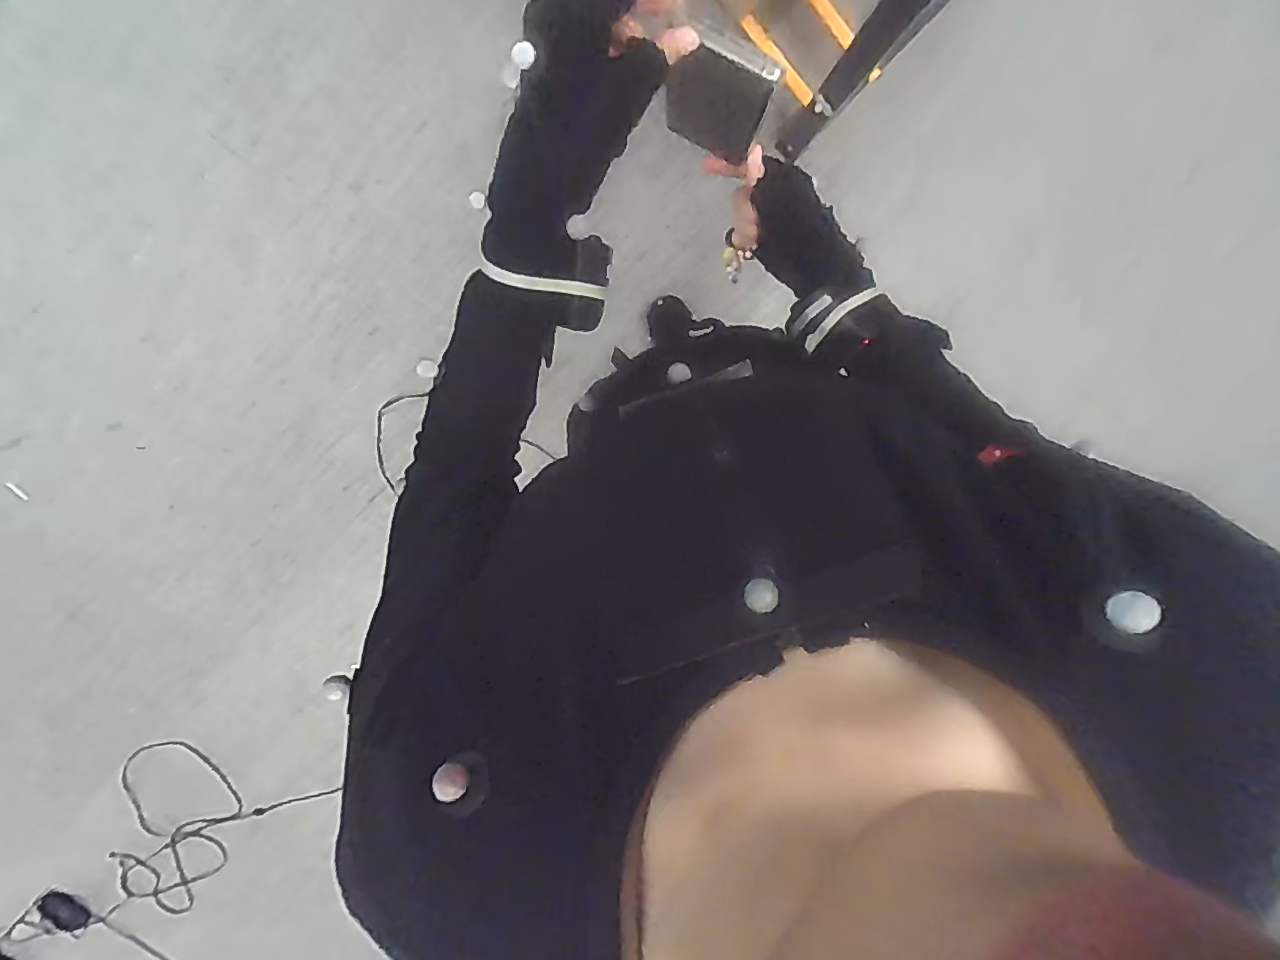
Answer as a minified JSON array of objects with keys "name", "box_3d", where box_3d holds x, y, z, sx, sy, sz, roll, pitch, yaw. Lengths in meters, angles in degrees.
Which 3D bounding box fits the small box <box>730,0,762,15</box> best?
[{"name":"small box","box_3d":[0.216,-1.025,0.992,0.179,0.176,0.168,-39,102,12]}]
